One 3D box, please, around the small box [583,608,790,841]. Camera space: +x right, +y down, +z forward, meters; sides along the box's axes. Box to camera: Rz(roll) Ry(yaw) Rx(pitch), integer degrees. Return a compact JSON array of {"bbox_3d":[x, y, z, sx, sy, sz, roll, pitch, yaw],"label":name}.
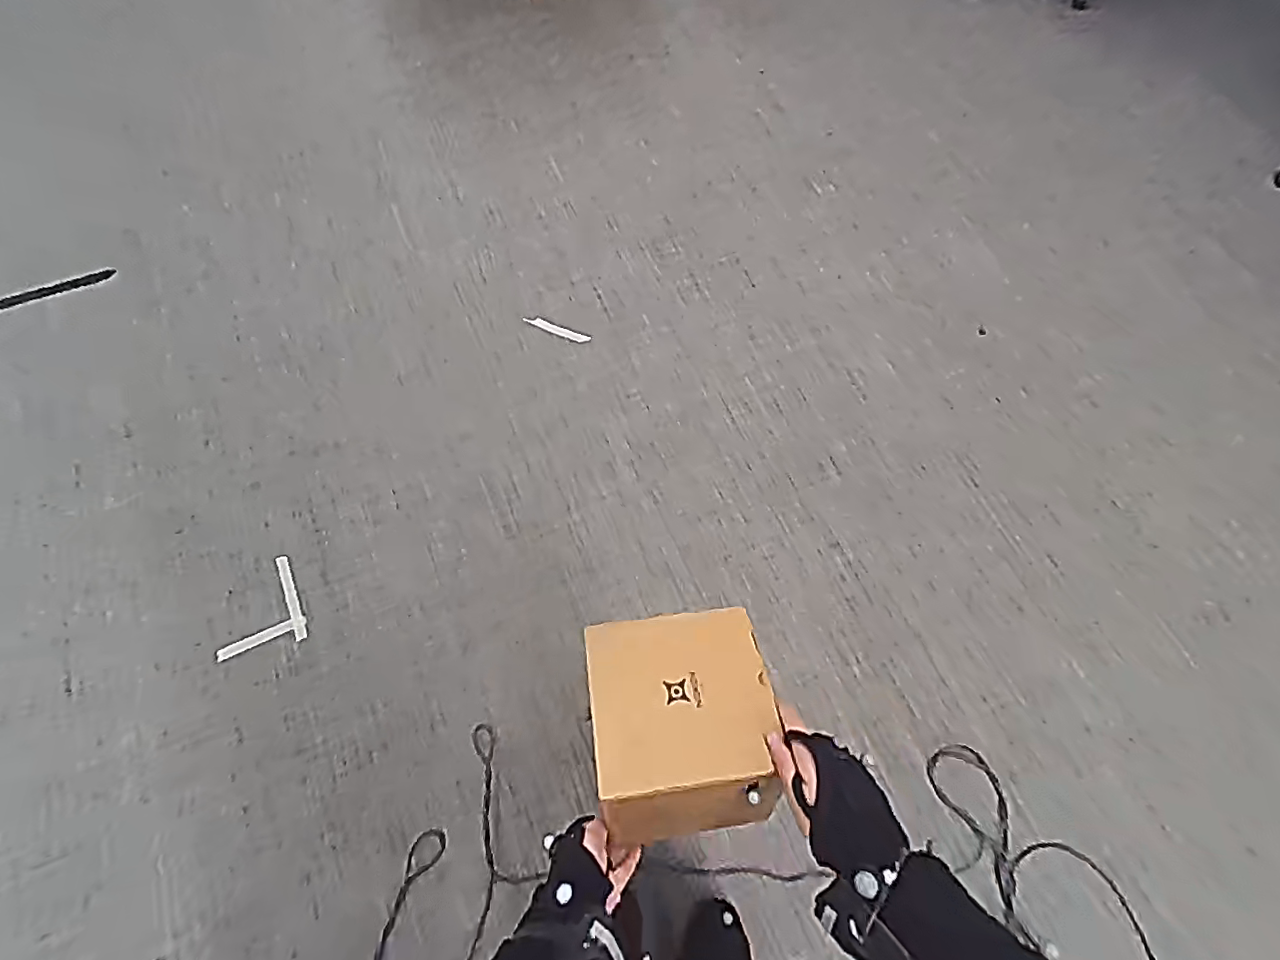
[{"bbox_3d":[0.037,0.262,0.578,0.179,0.176,0.168,-6,45,-7],"label":"small box"}]
